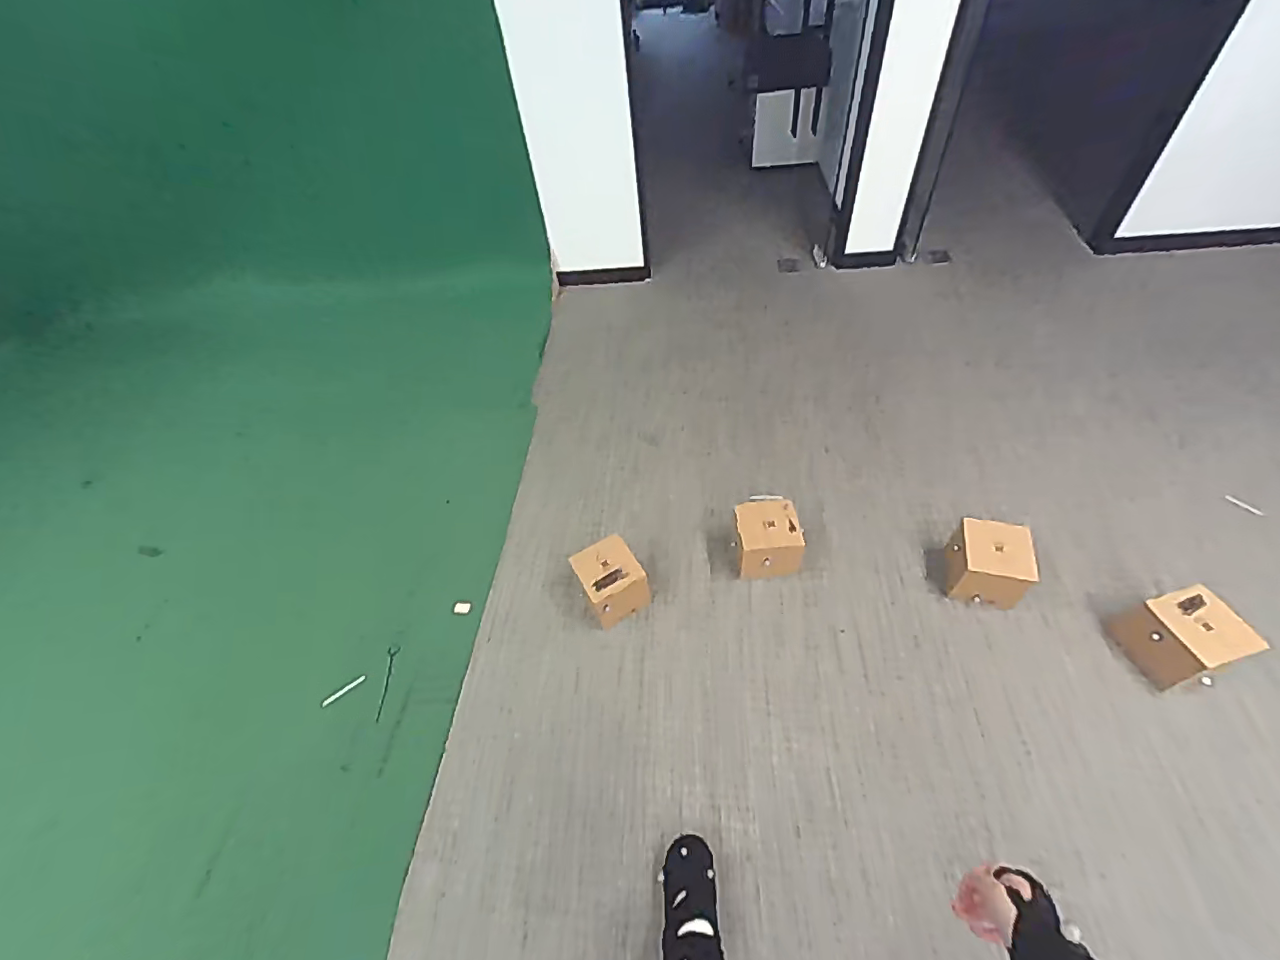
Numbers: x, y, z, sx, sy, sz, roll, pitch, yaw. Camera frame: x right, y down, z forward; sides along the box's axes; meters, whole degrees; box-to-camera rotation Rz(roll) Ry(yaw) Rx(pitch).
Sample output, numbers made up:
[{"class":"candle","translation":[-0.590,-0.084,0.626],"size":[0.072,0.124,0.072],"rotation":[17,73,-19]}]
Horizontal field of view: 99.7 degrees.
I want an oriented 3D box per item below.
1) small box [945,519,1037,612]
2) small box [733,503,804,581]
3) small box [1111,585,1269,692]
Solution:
[{"class":"small box","translation":[0.966,0.239,1.506],"size":[0.168,0.176,0.179],"rotation":[9,52,15]},{"class":"small box","translation":[0.380,0.191,1.621],"size":[0.179,0.176,0.168],"rotation":[-7,49,3]},{"class":"small box","translation":[1.331,0.390,1.328],"size":[0.168,0.176,0.179],"rotation":[-15,50,-5]}]
